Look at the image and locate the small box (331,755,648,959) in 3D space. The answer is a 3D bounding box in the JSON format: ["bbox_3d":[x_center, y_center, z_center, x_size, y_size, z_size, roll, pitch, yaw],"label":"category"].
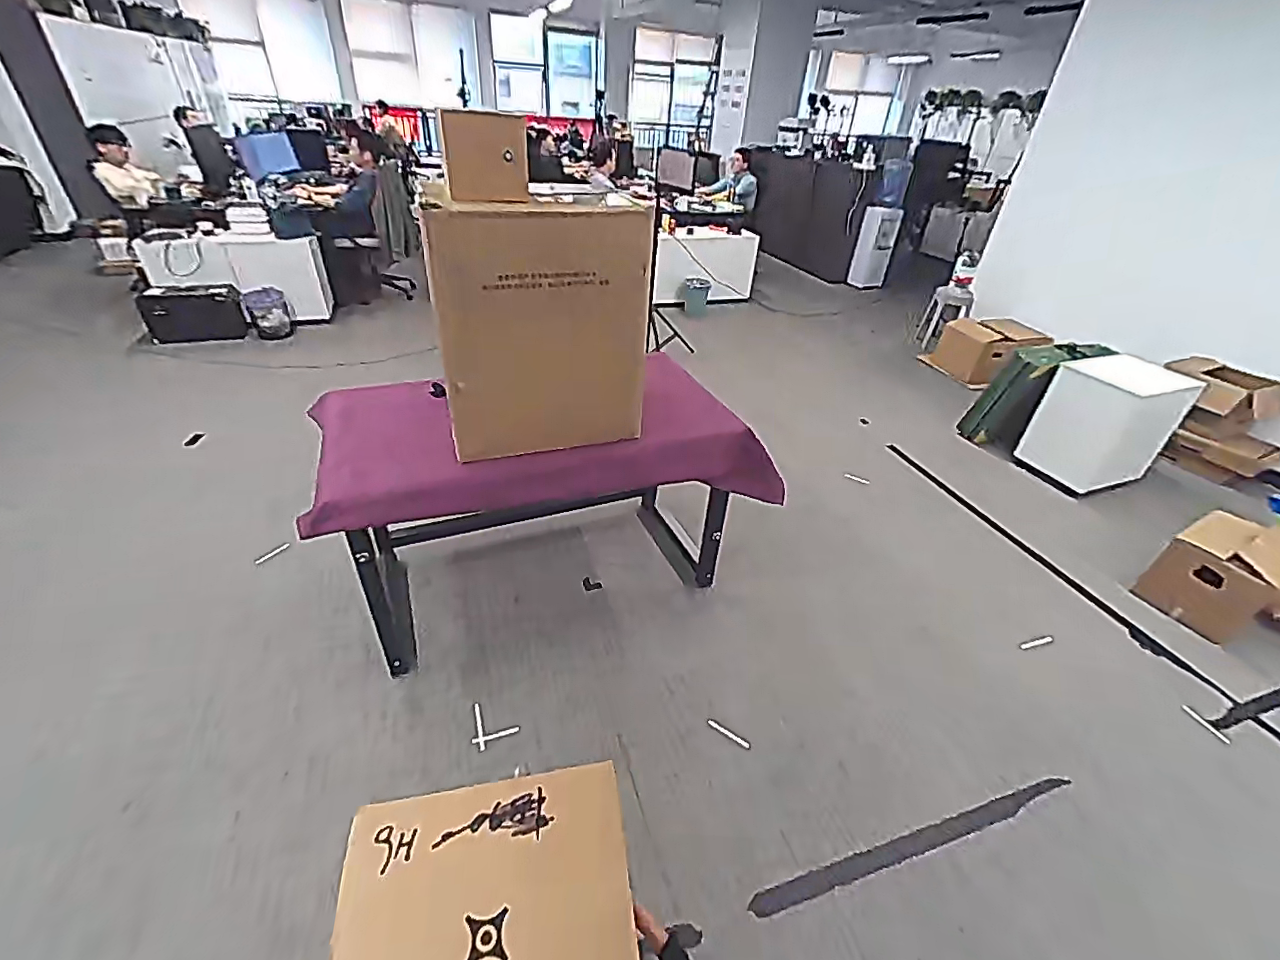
[{"bbox_3d":[-0.079,0.303,0.340,0.168,0.176,0.179,-7,46,-8],"label":"small box"}]

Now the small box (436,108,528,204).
[{"bbox_3d":[-0.354,-0.731,1.222,0.179,0.176,0.168,-10,37,-19],"label":"small box"}]
